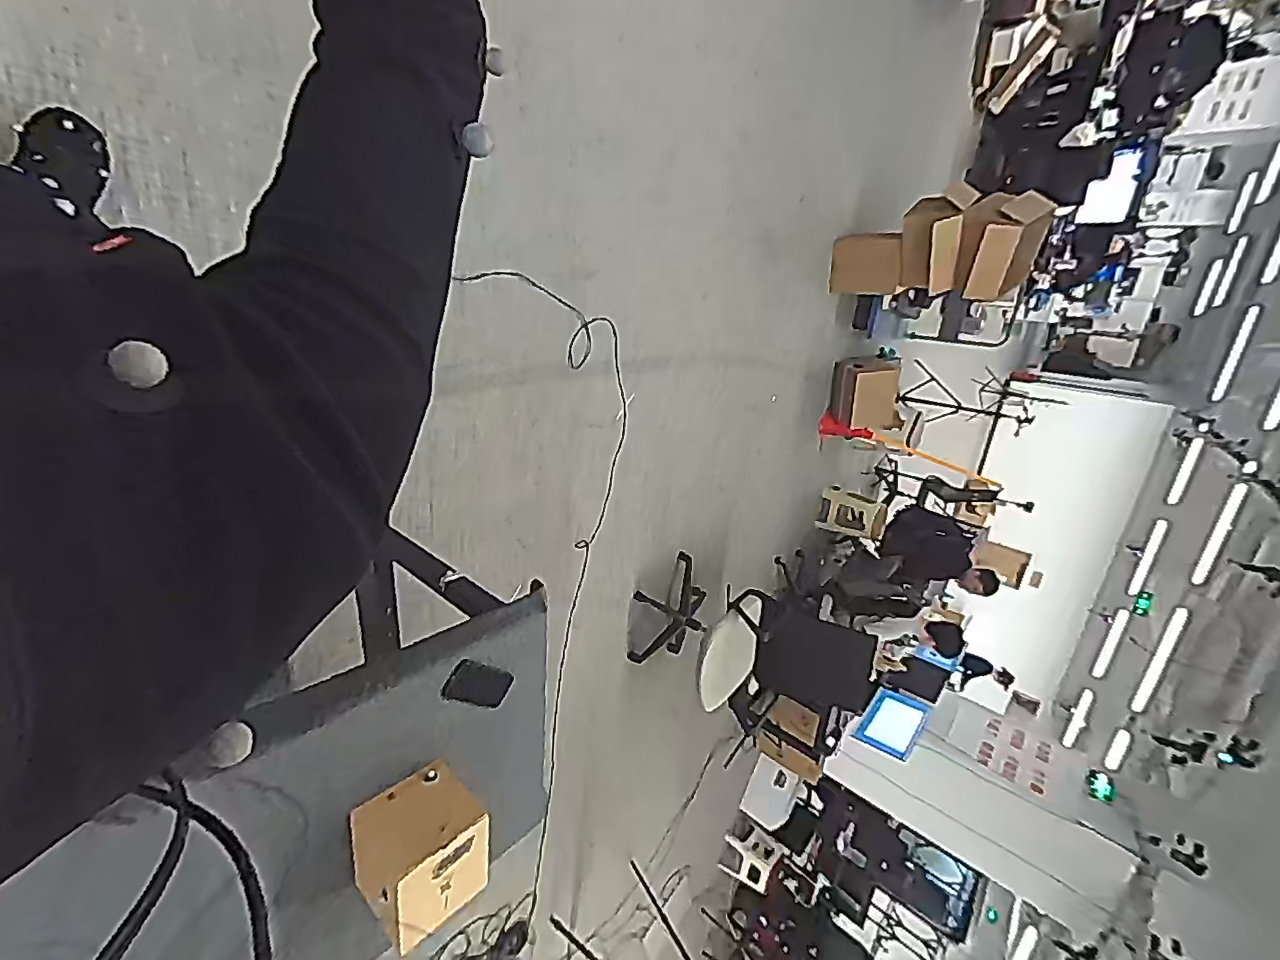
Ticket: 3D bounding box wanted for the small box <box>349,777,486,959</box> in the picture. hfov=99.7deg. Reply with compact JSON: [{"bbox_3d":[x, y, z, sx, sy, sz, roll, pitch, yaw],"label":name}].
[{"bbox_3d":[-0.388,0.659,0.943,0.168,0.176,0.179,-14,117,-48],"label":"small box"}]
